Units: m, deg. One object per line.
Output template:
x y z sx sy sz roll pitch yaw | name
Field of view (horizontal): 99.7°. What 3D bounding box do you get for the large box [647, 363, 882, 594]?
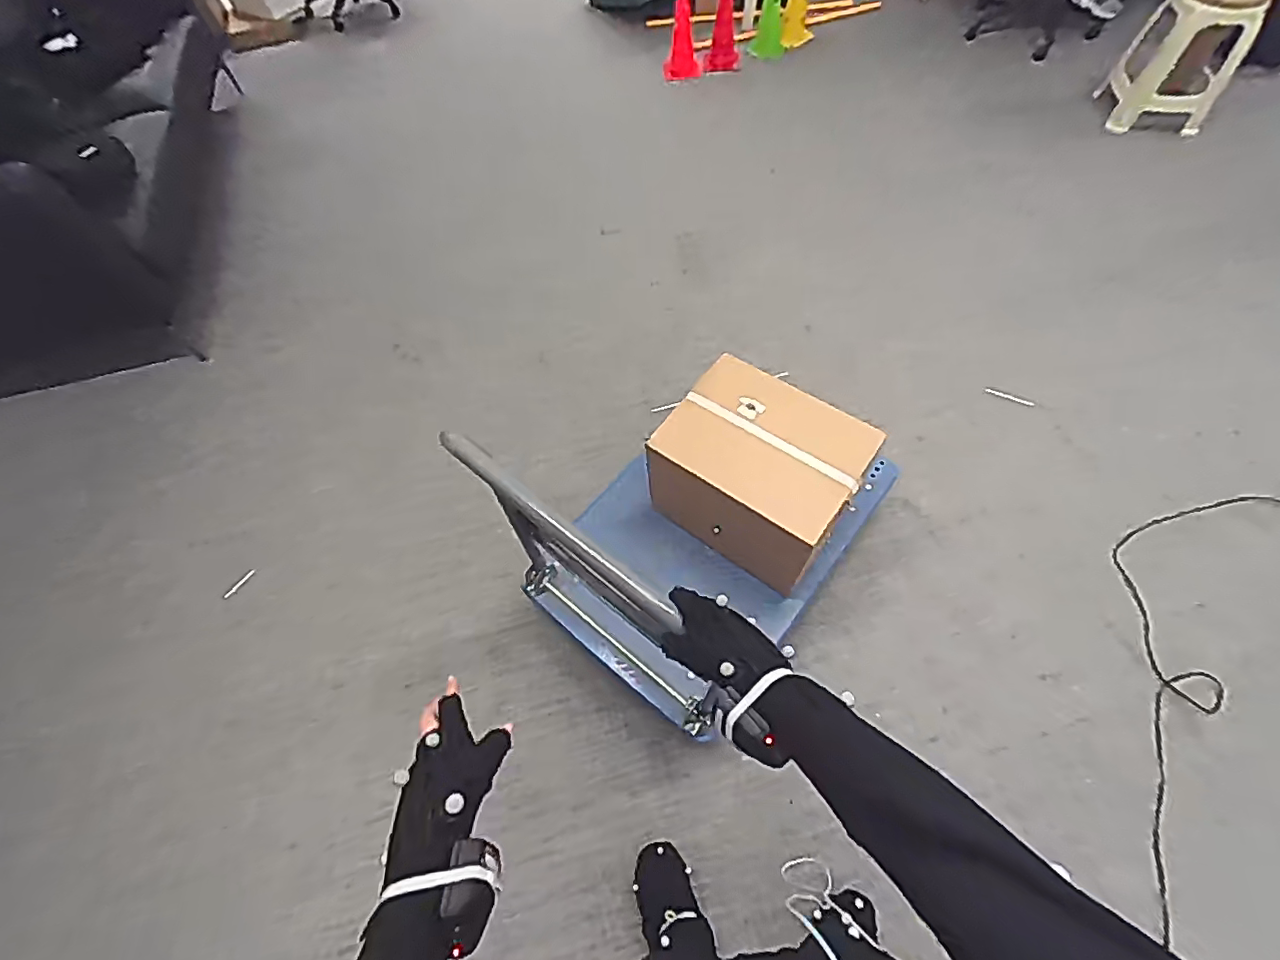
0.275 0.000 1.272 0.408 0.320 0.320 32 66 21 | large box
